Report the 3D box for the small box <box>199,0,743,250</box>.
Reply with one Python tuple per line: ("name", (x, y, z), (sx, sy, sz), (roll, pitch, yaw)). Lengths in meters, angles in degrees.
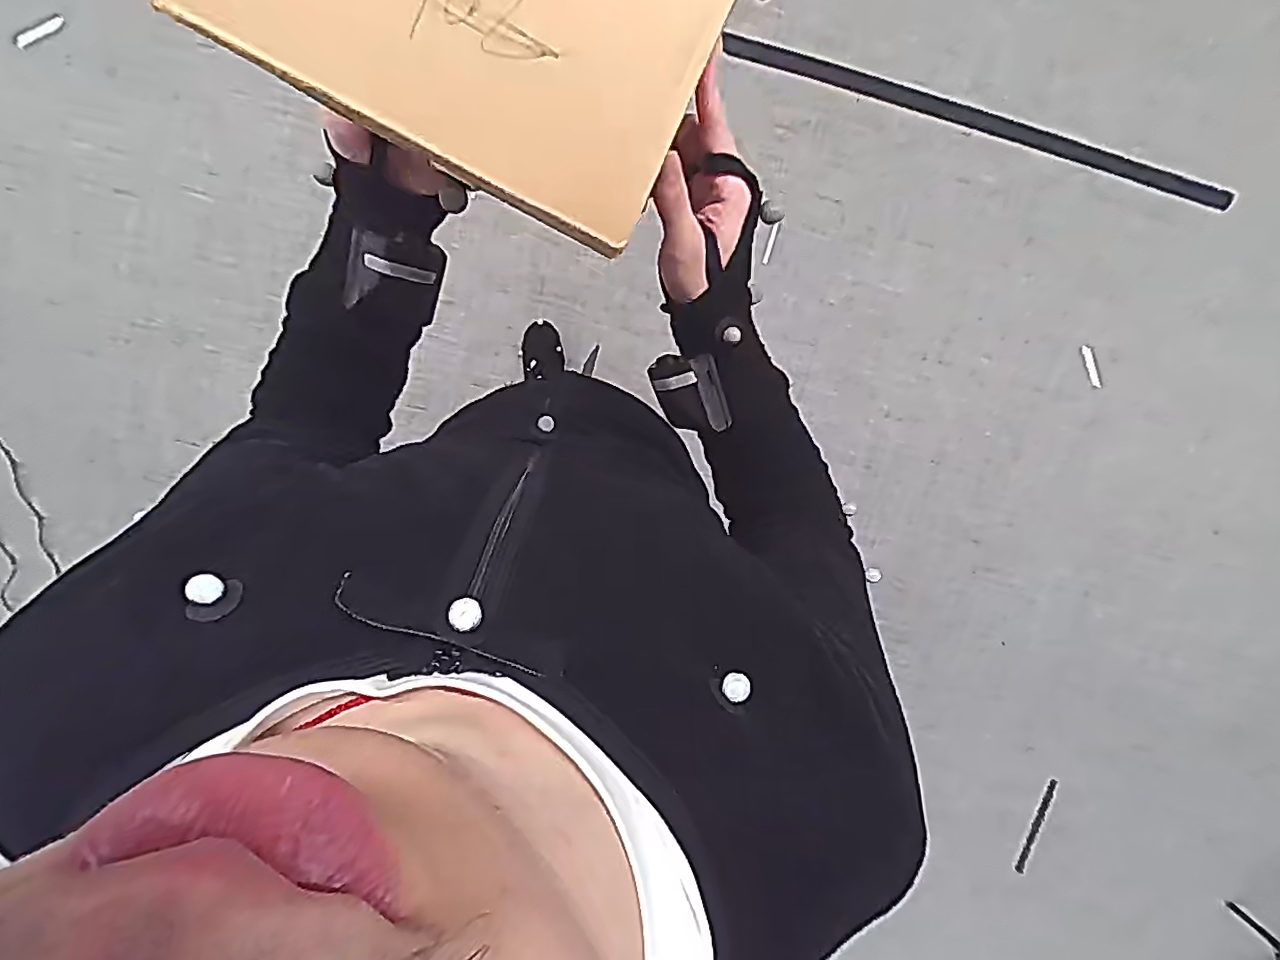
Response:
("small box", (-0.045, -0.227, 0.246), (0.168, 0.176, 0.179), (24, 108, -13))
